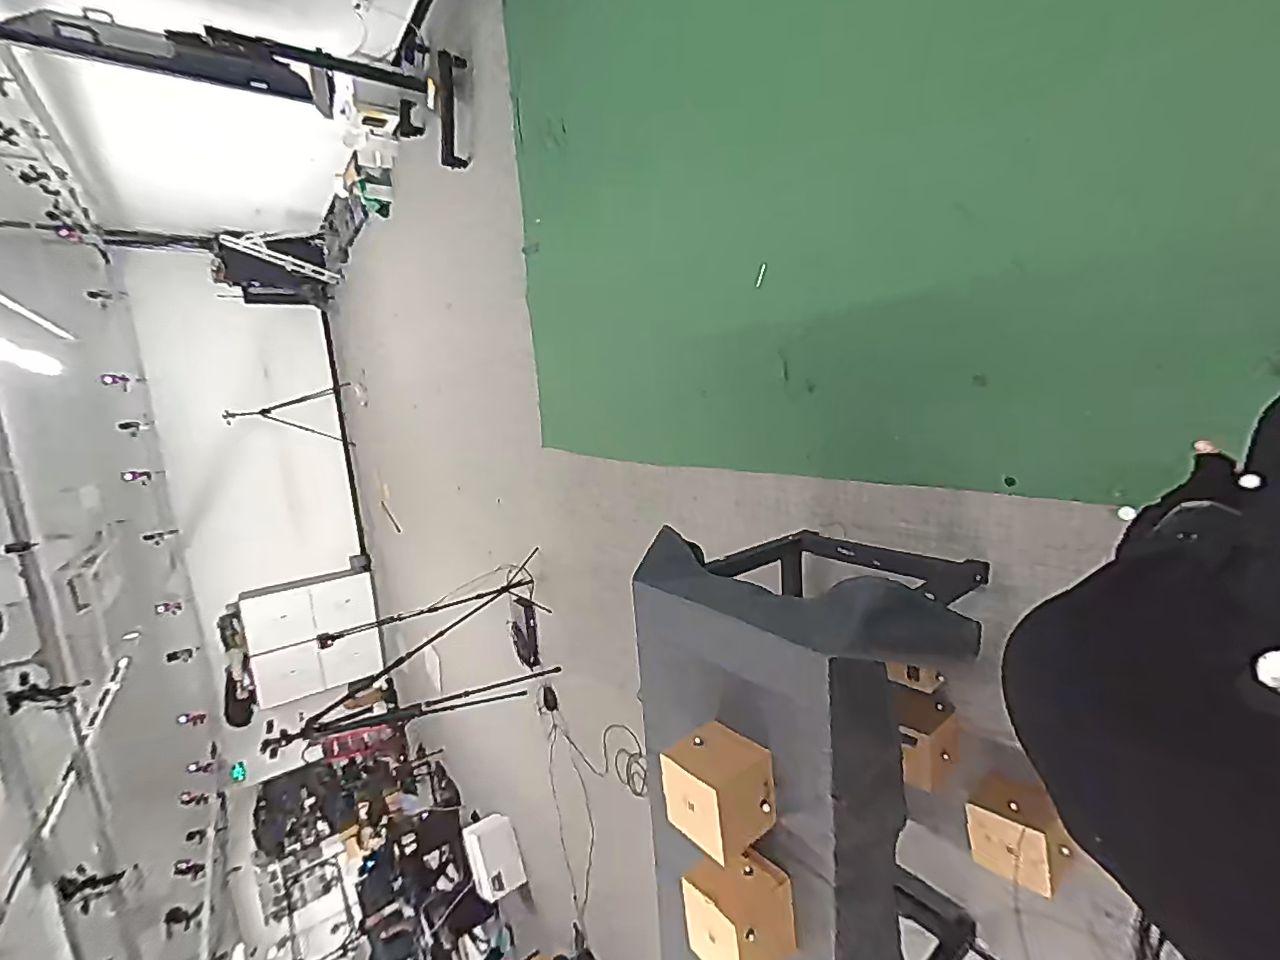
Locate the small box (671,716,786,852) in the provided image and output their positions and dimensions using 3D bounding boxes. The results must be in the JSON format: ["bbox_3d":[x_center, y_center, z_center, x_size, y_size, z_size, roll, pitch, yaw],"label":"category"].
[{"bbox_3d":[0.191,0.642,1.173,0.179,0.176,0.168,4,104,54],"label":"small box"}]

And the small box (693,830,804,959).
[{"bbox_3d":[0.242,0.921,1.188,0.168,0.176,0.179,0,100,55],"label":"small box"}]

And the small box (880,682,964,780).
[{"bbox_3d":[0.824,0.720,1.578,0.168,0.176,0.179,5,105,54],"label":"small box"}]
